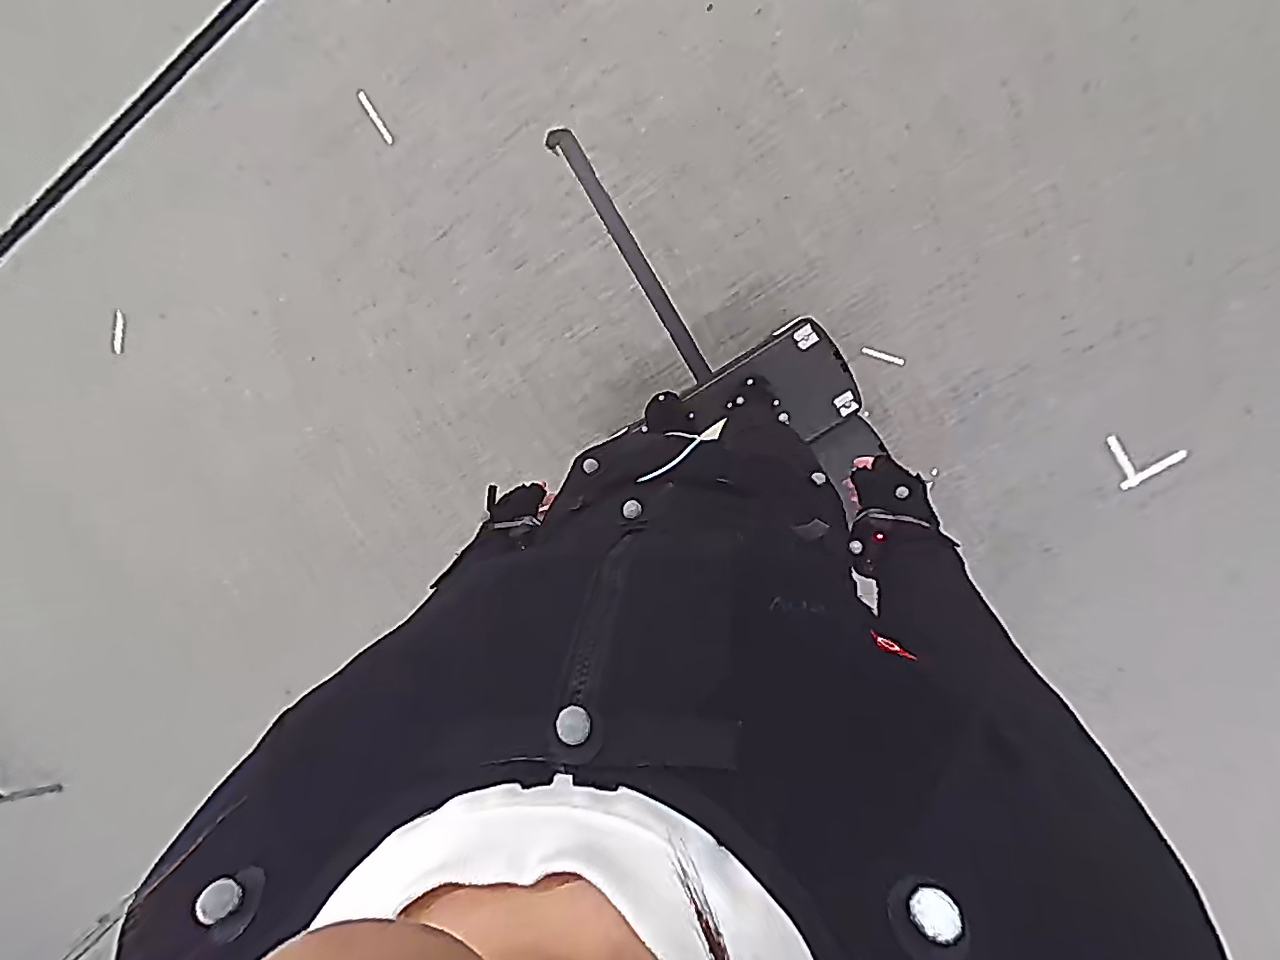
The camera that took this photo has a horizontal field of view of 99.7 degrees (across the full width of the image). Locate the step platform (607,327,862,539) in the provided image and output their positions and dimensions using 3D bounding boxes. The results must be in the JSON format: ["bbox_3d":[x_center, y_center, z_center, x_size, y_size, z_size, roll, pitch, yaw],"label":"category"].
[{"bbox_3d":[0.244,-0.123,1.491,0.684,0.204,0.286,-33,97,10],"label":"step platform"}]
